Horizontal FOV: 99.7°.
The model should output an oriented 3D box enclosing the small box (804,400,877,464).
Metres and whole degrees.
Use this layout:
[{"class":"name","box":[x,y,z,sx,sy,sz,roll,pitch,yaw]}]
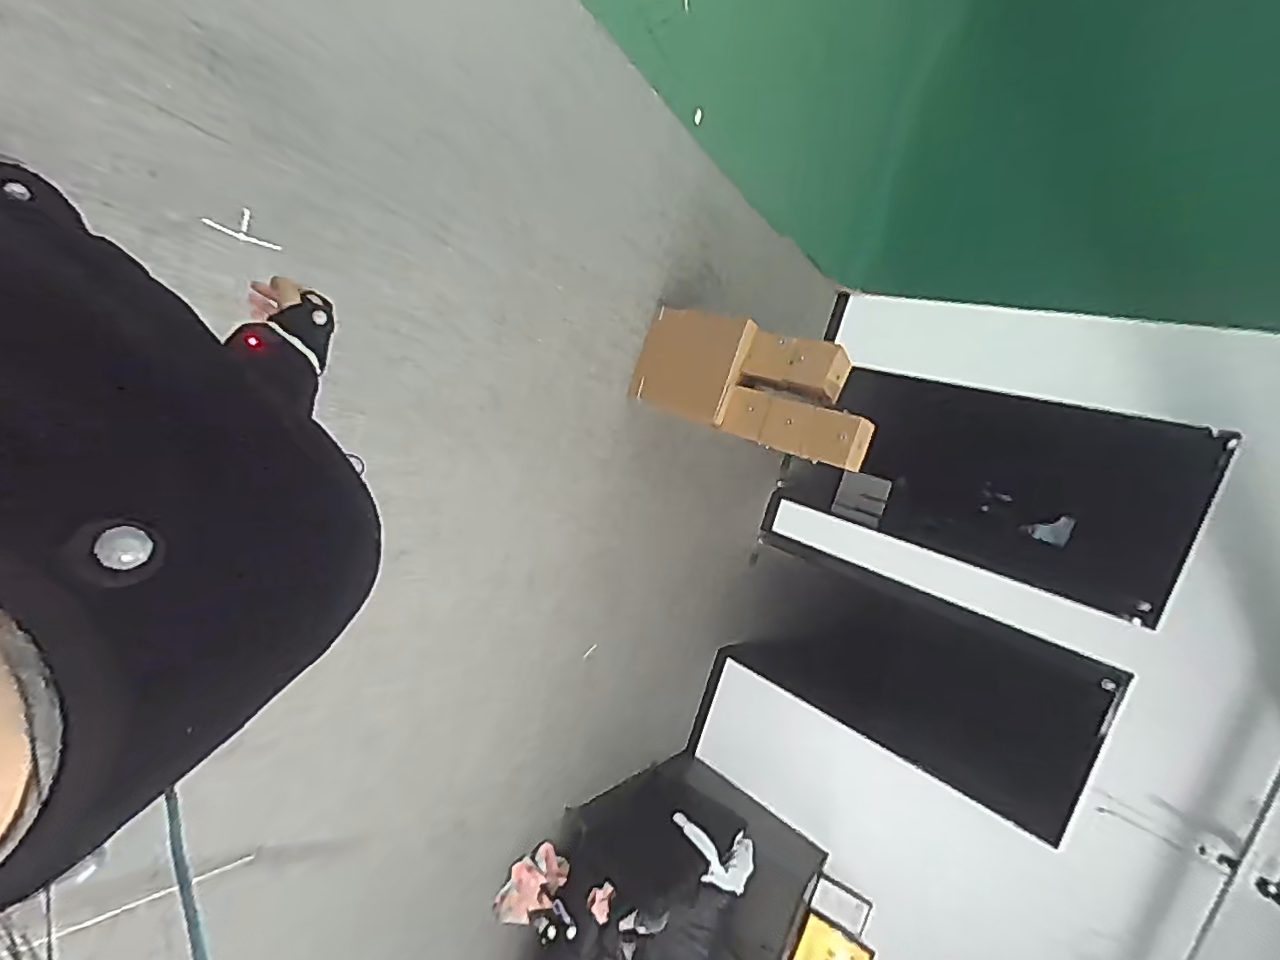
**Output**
[{"class":"small box","box":[0.696,-0.169,1.885,0.168,0.176,0.179,8,102,-52]}]
